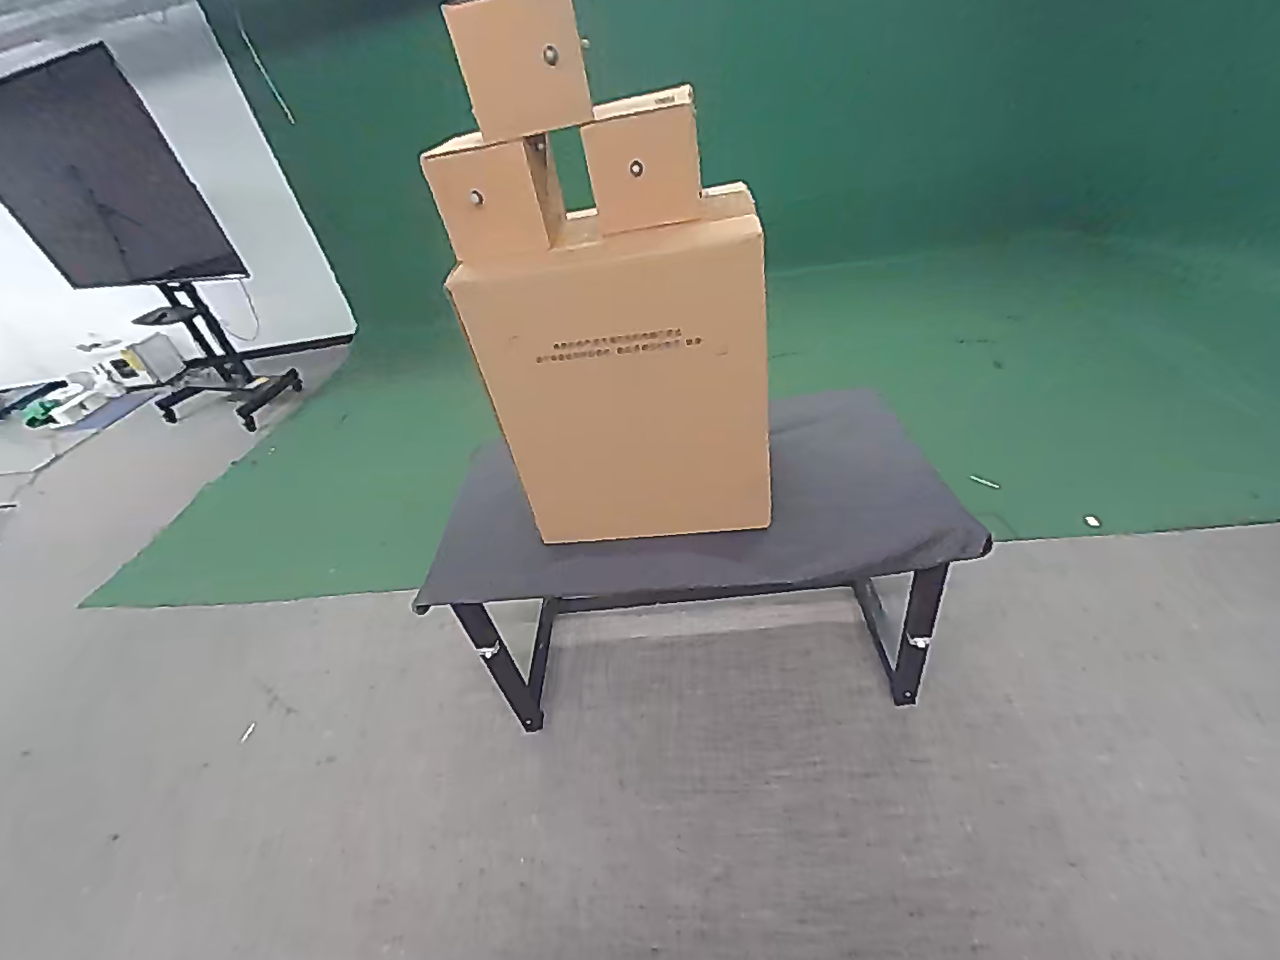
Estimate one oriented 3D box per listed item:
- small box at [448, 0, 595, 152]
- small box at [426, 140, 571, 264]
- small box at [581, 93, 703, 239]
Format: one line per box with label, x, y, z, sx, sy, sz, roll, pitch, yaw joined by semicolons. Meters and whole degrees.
small box;-0.170;-0.633;0.843;0.179;0.176;0.168;-12;39;3
small box;-0.238;-0.498;0.959;0.179;0.176;0.168;-4;42;10
small box;0.015;-0.538;0.932;0.179;0.176;0.168;-5;42;11
